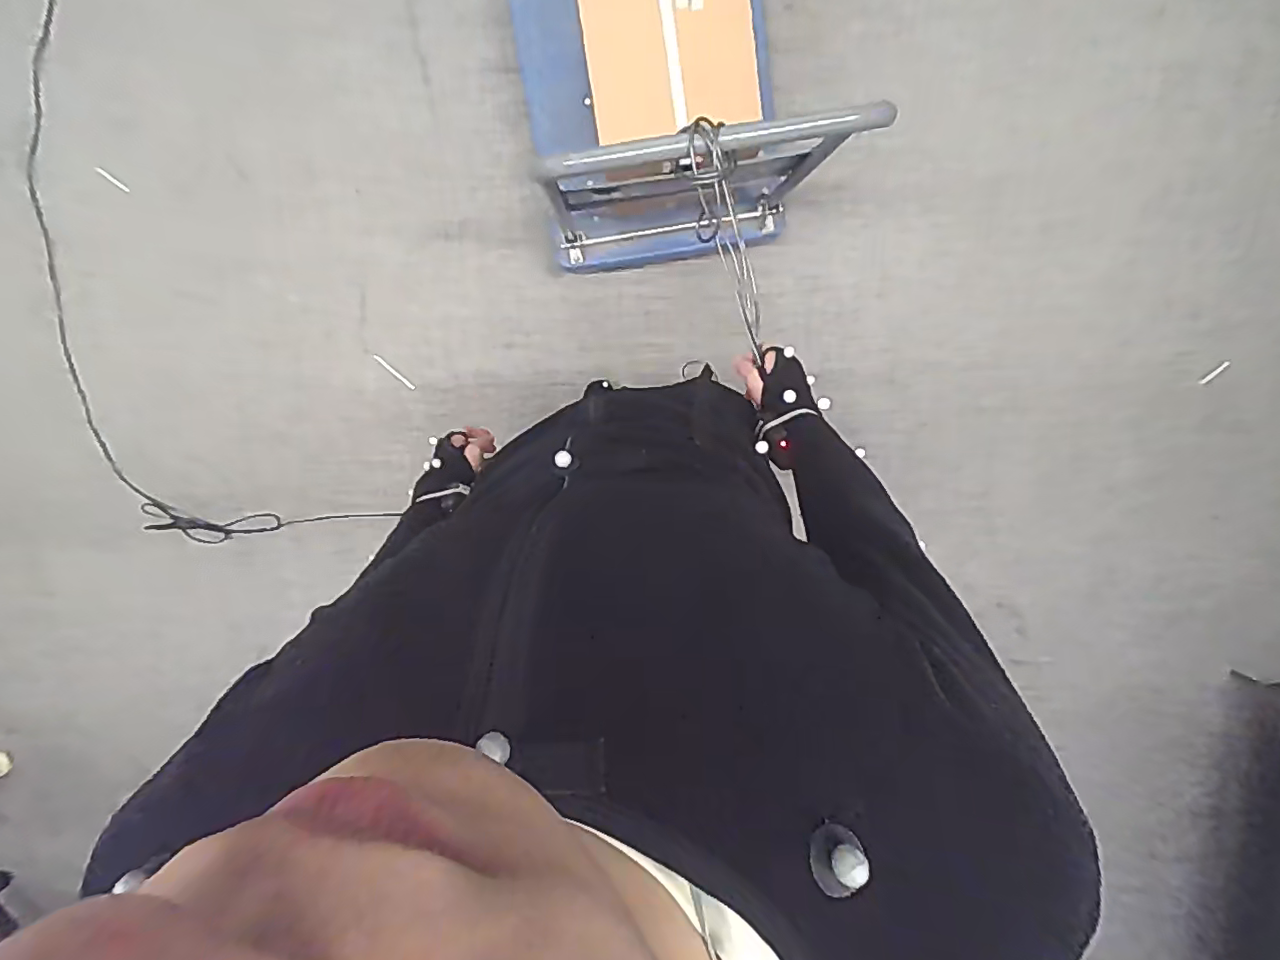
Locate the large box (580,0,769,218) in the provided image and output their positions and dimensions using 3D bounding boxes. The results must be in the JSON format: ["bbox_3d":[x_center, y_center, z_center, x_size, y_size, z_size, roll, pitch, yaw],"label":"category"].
[{"bbox_3d":[0.061,-0.823,1.128,0.320,0.320,0.408,-9,100,1],"label":"large box"}]
